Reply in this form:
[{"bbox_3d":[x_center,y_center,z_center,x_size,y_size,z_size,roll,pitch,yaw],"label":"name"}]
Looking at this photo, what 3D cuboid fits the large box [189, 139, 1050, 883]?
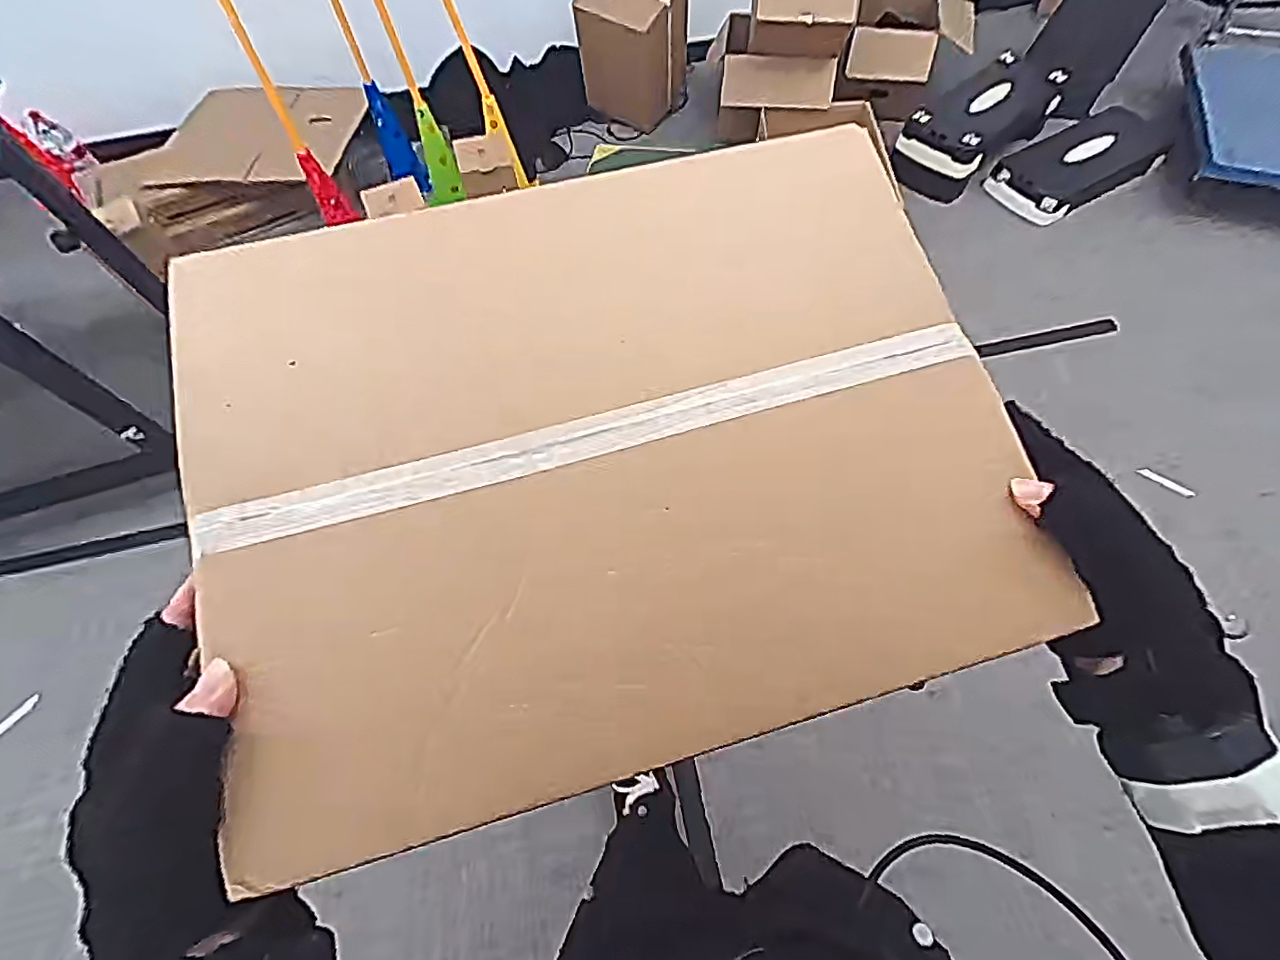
[{"bbox_3d":[-0.023,0.015,0.432,0.408,0.320,0.320,-15,76,-6],"label":"large box"}]
